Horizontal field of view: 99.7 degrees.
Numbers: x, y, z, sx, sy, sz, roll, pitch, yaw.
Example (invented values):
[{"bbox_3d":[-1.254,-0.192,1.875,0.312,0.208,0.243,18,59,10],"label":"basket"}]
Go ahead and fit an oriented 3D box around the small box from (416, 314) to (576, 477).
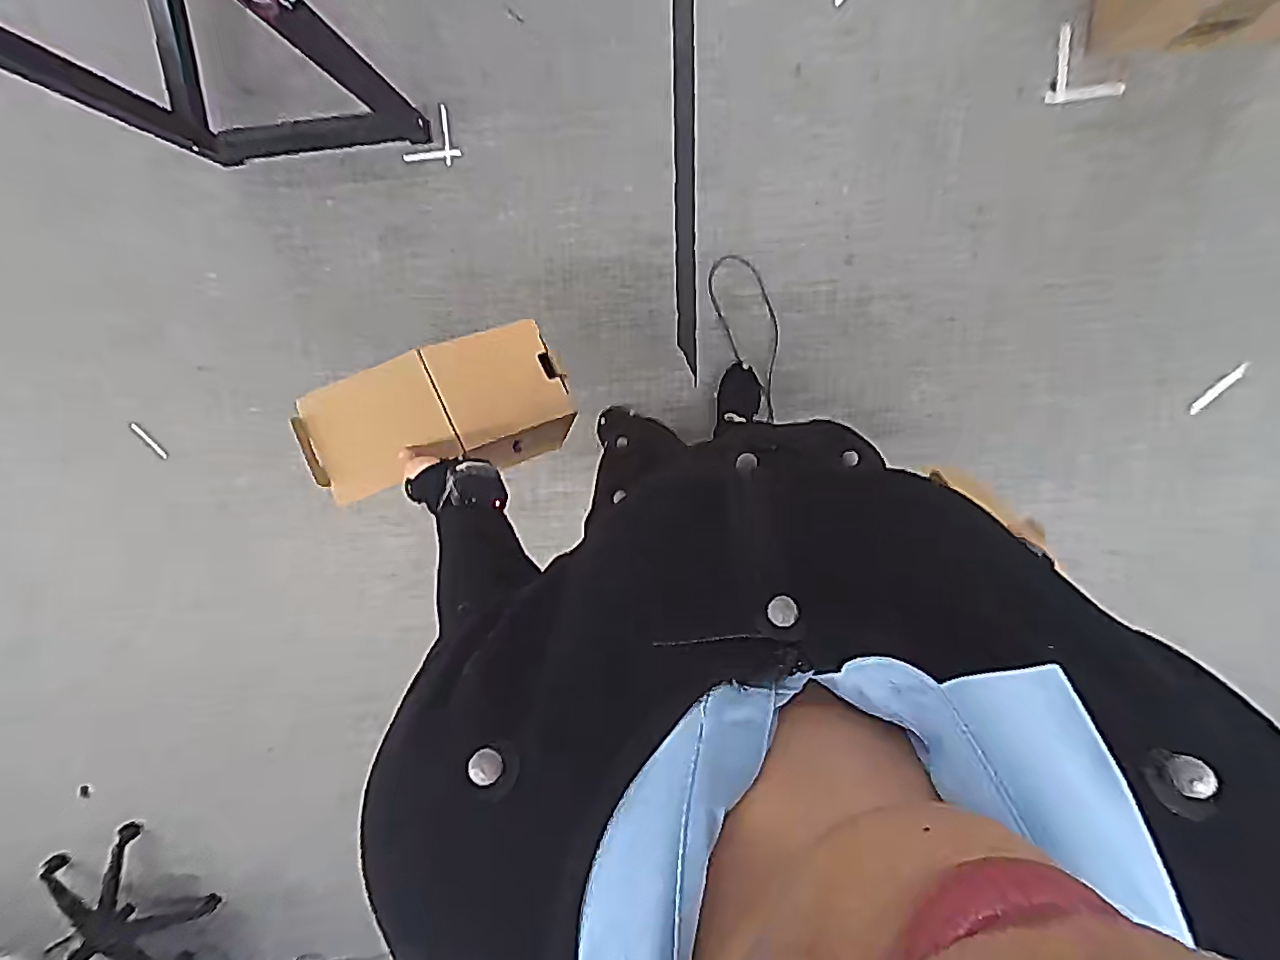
[{"bbox_3d":[-0.220,-0.121,0.831,0.179,0.176,0.168,-23,84,-22],"label":"small box"}]
